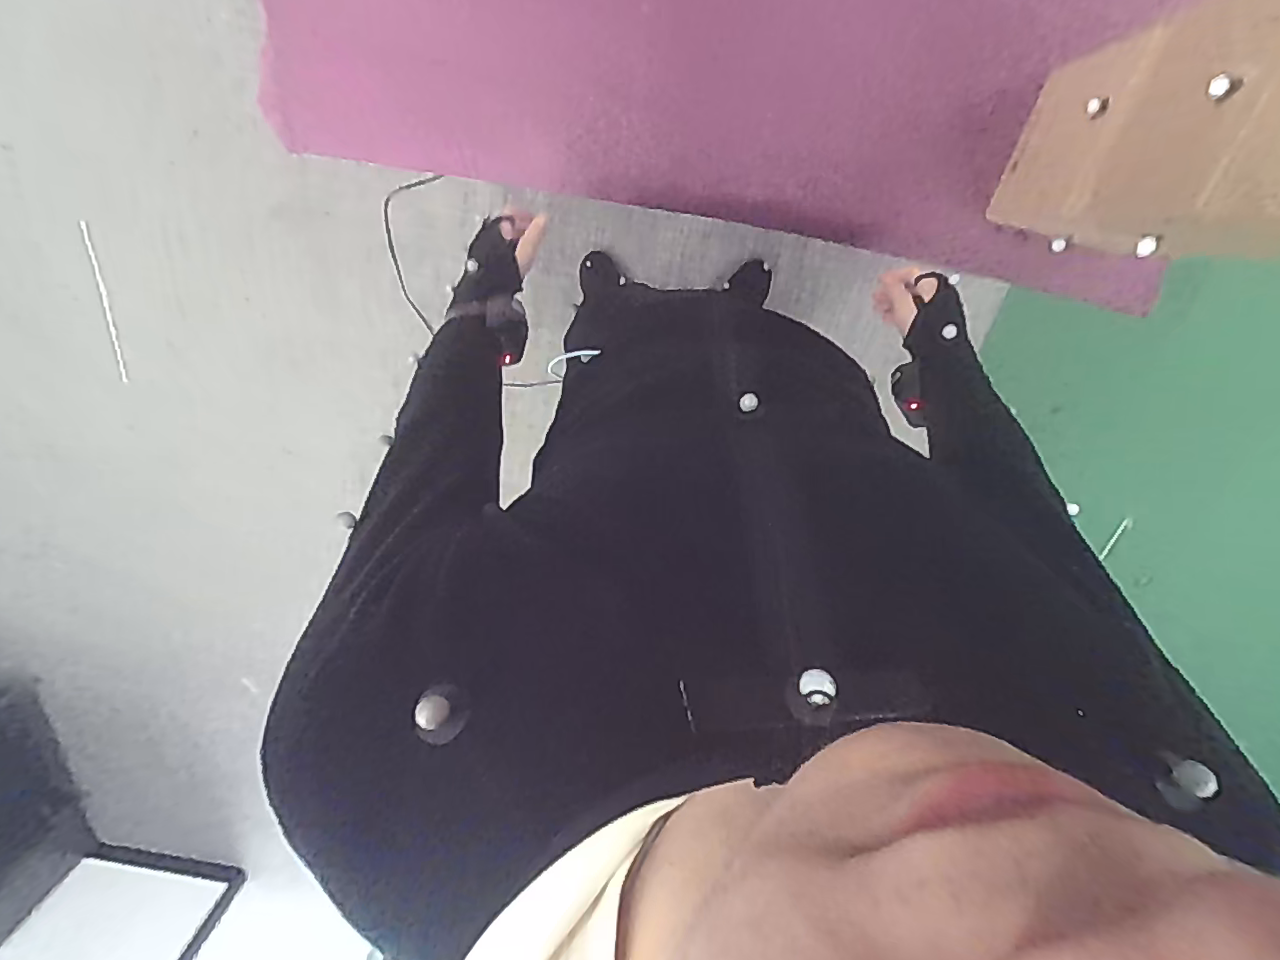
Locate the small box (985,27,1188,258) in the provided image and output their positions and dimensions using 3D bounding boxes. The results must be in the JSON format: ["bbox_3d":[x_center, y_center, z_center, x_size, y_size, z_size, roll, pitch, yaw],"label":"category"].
[{"bbox_3d":[0.545,-0.362,0.610,0.179,0.176,0.168,15,115,-2],"label":"small box"}]
